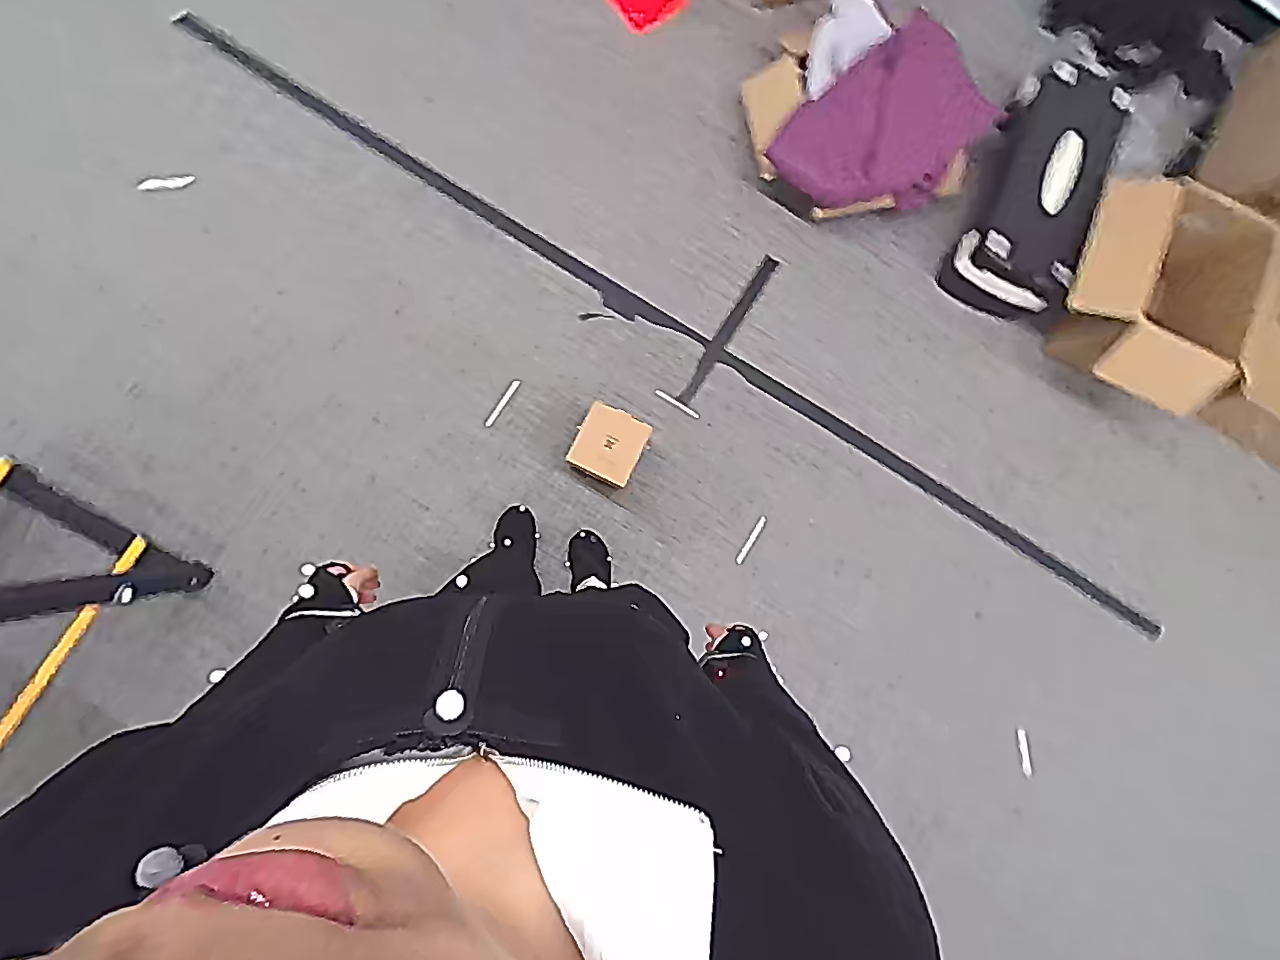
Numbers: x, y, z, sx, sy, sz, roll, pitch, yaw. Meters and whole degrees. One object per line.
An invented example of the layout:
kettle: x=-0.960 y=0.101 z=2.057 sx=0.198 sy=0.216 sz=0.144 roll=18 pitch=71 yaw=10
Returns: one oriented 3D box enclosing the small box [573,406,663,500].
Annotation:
small box: x=-0.059 y=-0.061 z=1.364 sx=0.168 sy=0.176 sz=0.179 roll=26 pitch=86 yaw=-2
